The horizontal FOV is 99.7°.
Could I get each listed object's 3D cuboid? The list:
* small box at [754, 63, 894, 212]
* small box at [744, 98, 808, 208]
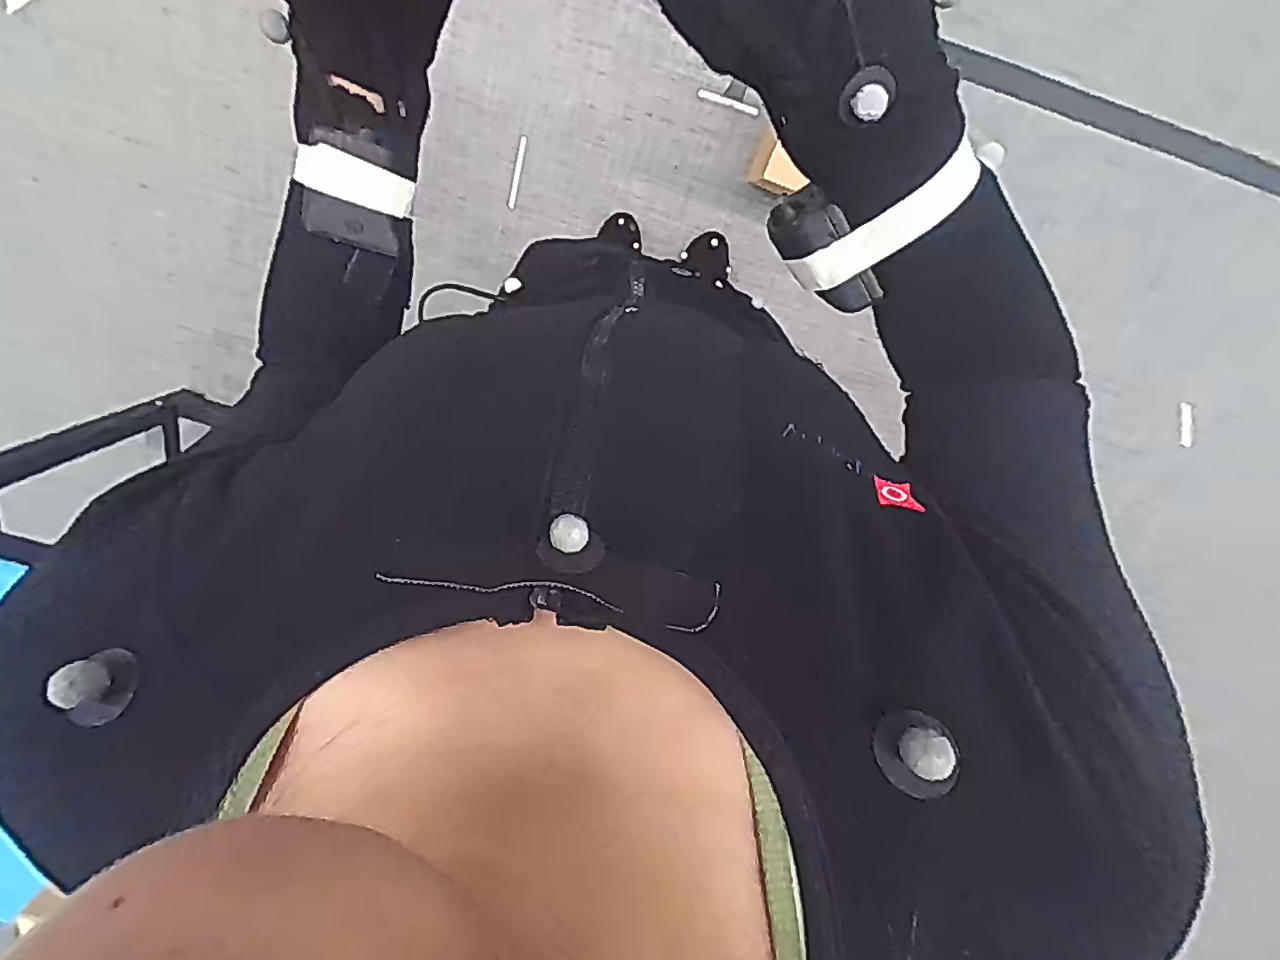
[{"bbox_3d":[0.322,-0.617,0.996,0.168,0.176,0.179,21,117,-6],"label":"small box"},{"bbox_3d":[0.341,-0.689,1.141,0.179,0.176,0.168,20,115,-8],"label":"small box"}]
